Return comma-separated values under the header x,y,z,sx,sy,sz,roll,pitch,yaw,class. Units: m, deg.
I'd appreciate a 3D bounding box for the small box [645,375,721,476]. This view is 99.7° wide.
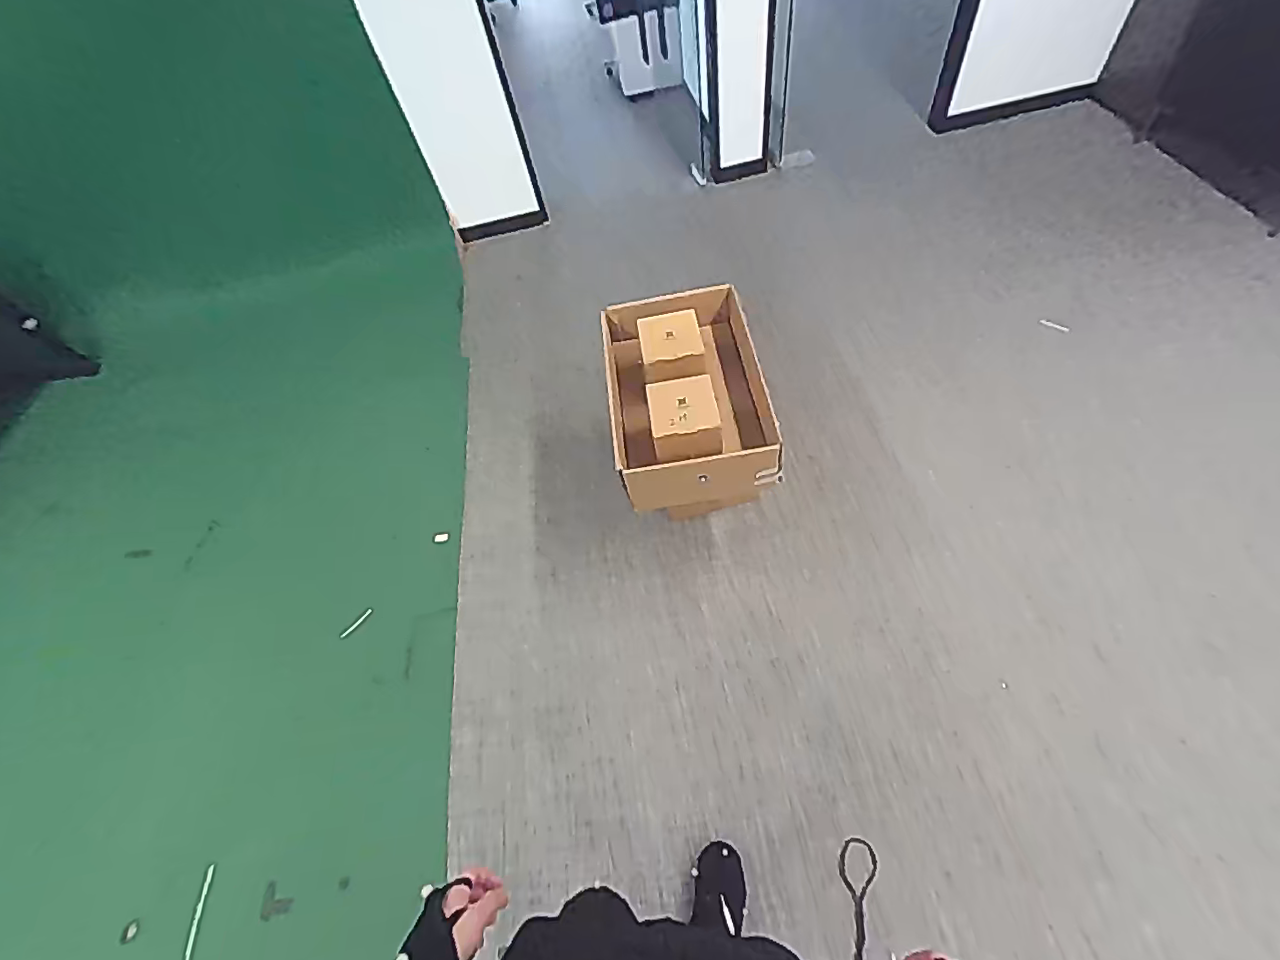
x,y,z,sx,sy,sz,roll,pitch,yaw,class
0.110,-0.136,1.378,0.168,0.176,0.179,-10,55,4,small box

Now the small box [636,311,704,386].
x,y,z,sx,sy,sz,roll,pitch,yaw,class
0.086,-0.343,1.527,0.168,0.176,0.179,-11,57,3,small box
